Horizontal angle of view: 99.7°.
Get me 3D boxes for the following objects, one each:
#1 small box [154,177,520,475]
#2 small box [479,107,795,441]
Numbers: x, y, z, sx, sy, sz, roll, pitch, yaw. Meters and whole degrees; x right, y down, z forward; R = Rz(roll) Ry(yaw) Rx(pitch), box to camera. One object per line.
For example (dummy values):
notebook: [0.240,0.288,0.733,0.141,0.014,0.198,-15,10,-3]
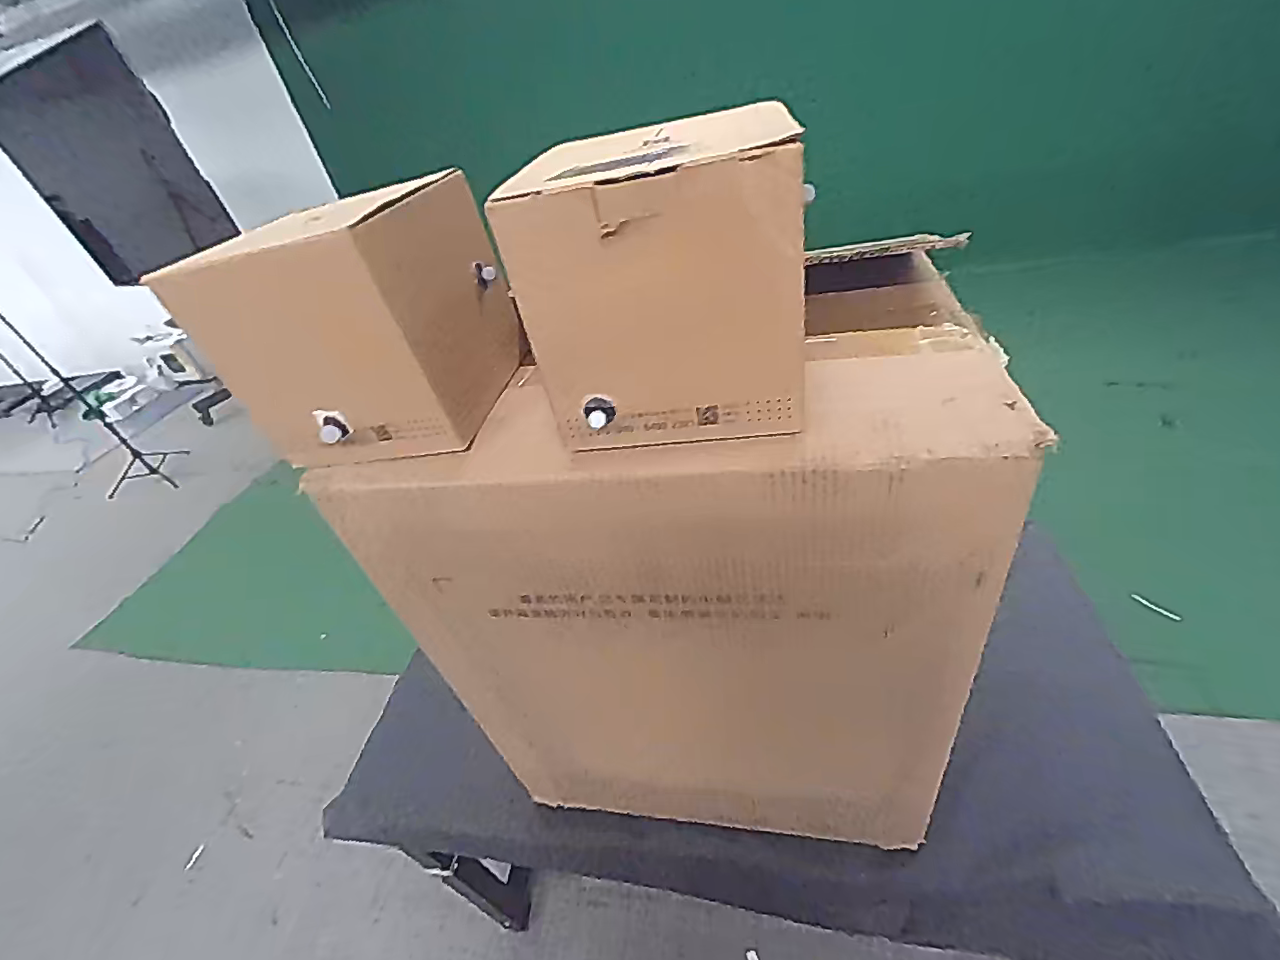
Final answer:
small box: [-0.219,-0.127,0.453,0.168,0.176,0.179,-7,39,15]
small box: [0.018,-0.138,0.383,0.168,0.176,0.179,-4,38,13]
